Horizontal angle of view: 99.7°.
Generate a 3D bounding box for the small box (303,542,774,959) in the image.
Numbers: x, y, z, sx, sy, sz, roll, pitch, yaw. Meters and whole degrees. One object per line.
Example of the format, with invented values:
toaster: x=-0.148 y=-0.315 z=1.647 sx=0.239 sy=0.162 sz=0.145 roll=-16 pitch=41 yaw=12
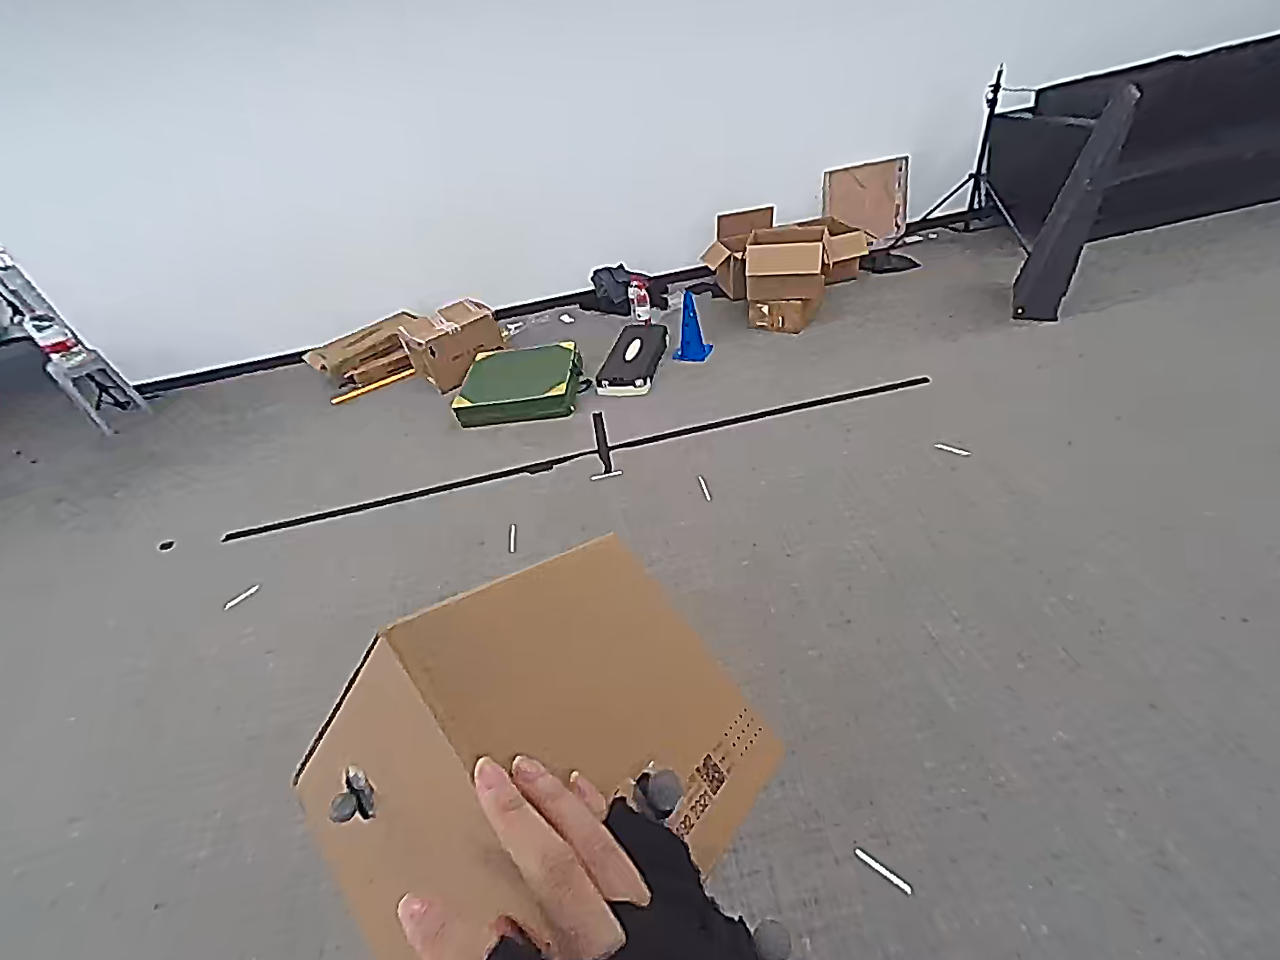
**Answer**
small box: x=-0.059 y=0.171 z=0.315 sx=0.176 sy=0.179 sz=0.168 roll=49 pitch=33 yaw=16
